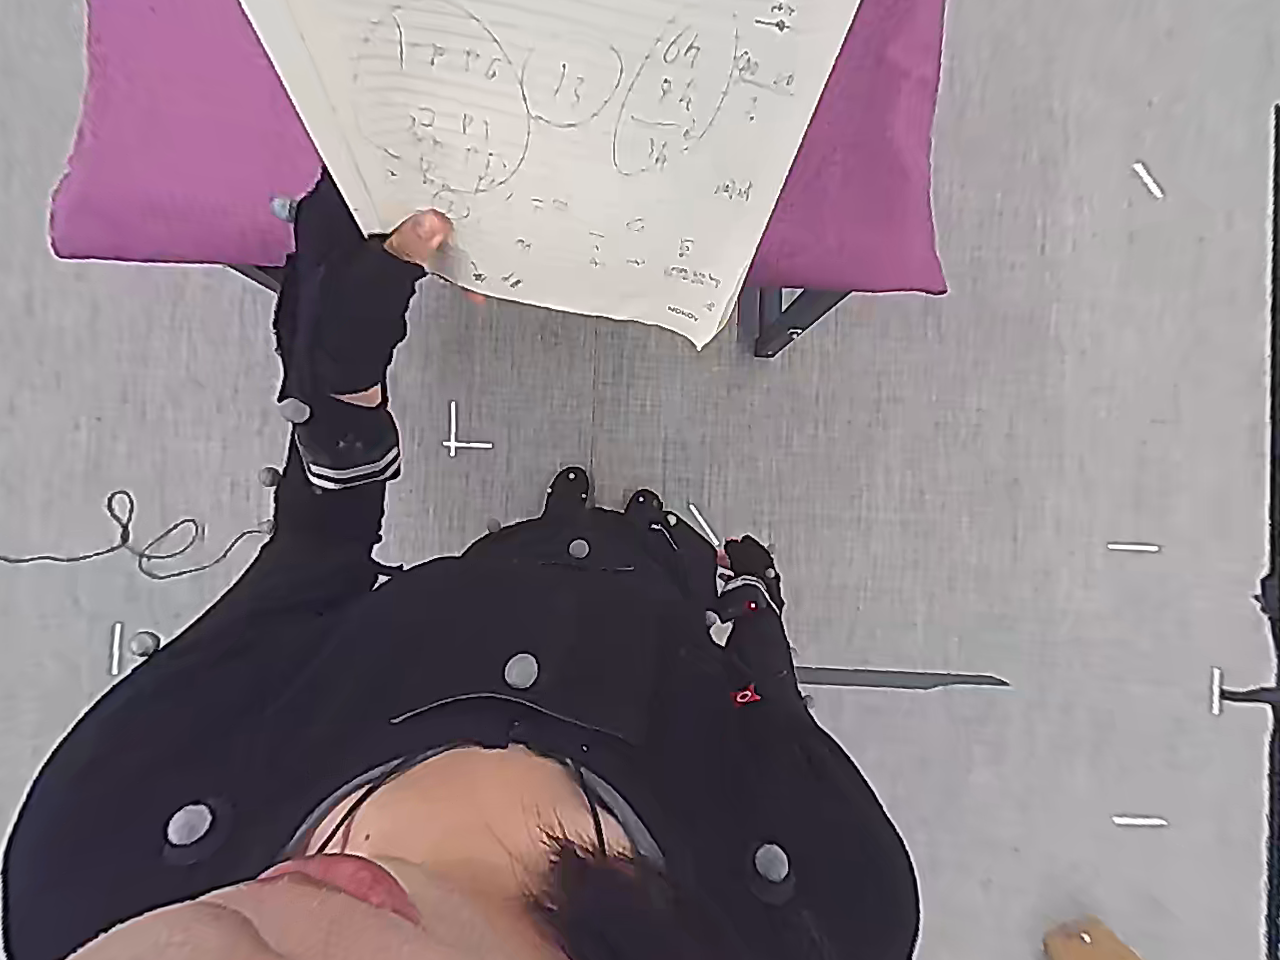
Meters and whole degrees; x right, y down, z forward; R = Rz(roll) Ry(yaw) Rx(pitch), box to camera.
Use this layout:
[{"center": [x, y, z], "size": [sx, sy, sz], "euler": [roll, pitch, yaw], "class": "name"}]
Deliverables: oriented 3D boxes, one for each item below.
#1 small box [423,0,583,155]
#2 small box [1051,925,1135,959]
[{"center": [-0.166, -0.559, 0.710], "size": [0.179, 0.176, 0.168], "euler": [2, 88, -3], "class": "small box"}, {"center": [1.280, 1.383, 1.473], "size": [0.168, 0.176, 0.179], "euler": [-20, 89, -3], "class": "small box"}]
